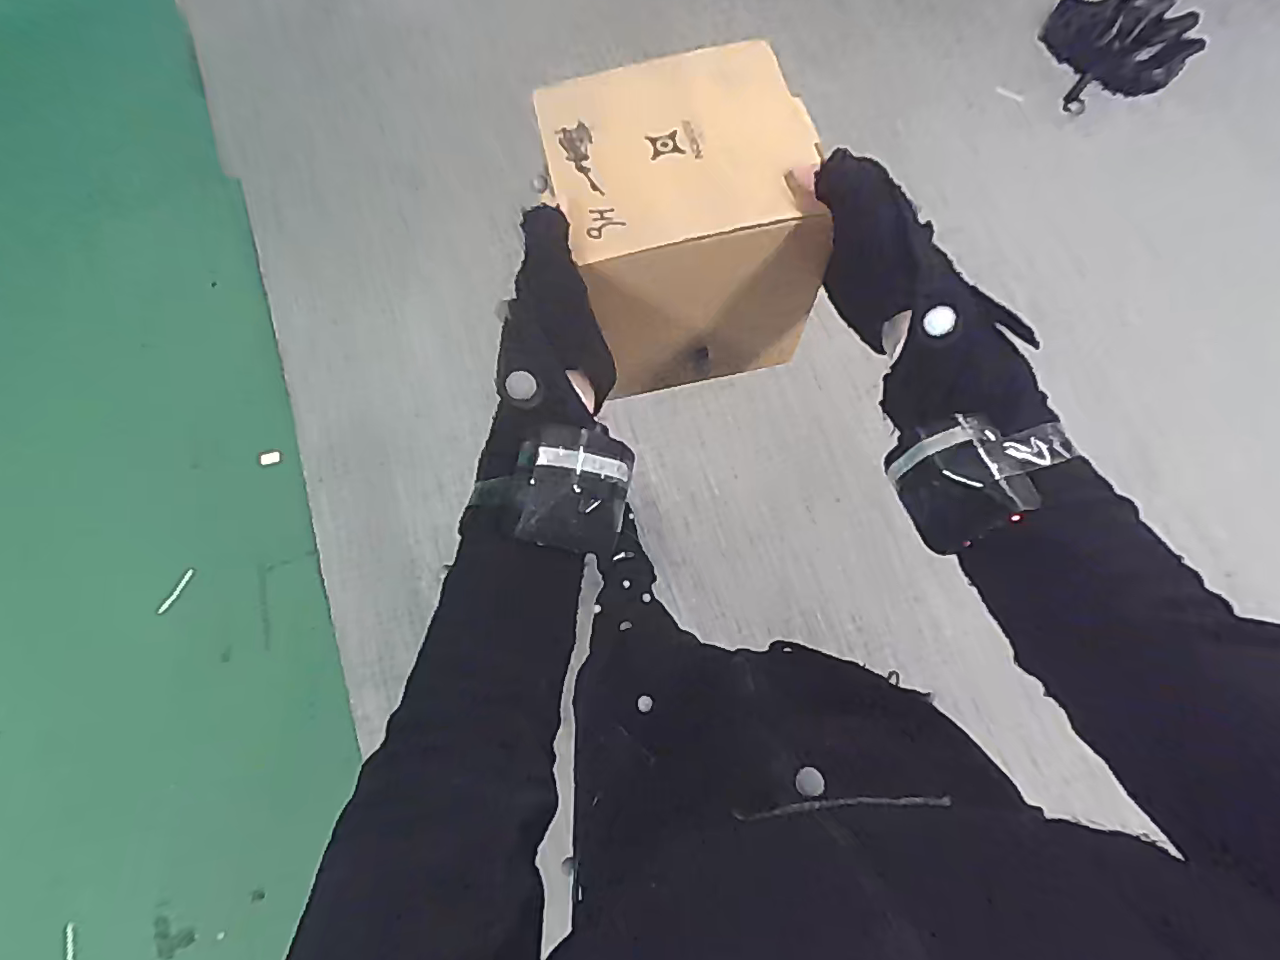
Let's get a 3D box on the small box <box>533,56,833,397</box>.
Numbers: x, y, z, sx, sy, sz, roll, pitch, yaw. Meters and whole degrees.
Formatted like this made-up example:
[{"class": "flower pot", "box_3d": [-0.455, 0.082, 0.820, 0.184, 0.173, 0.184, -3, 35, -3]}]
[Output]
[{"class": "small box", "box_3d": [0.025, -0.190, 0.438, 0.179, 0.176, 0.168, -12, 67, -2]}]
